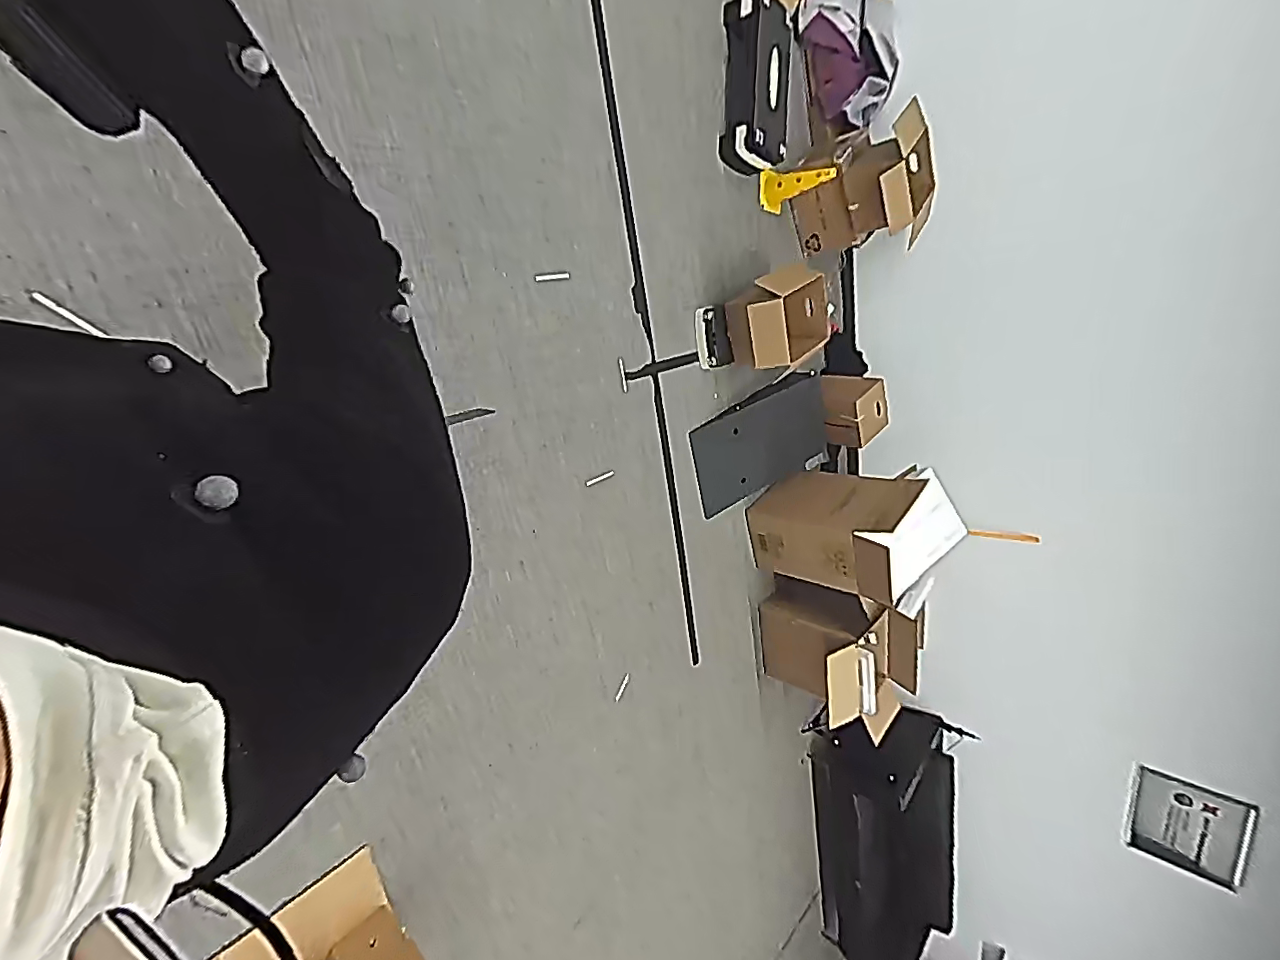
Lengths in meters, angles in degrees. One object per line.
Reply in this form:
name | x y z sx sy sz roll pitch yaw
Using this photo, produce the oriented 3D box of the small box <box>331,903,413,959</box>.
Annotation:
small box | -0.841 1.498 1.694 0.179 0.176 0.168 -25 115 -43
